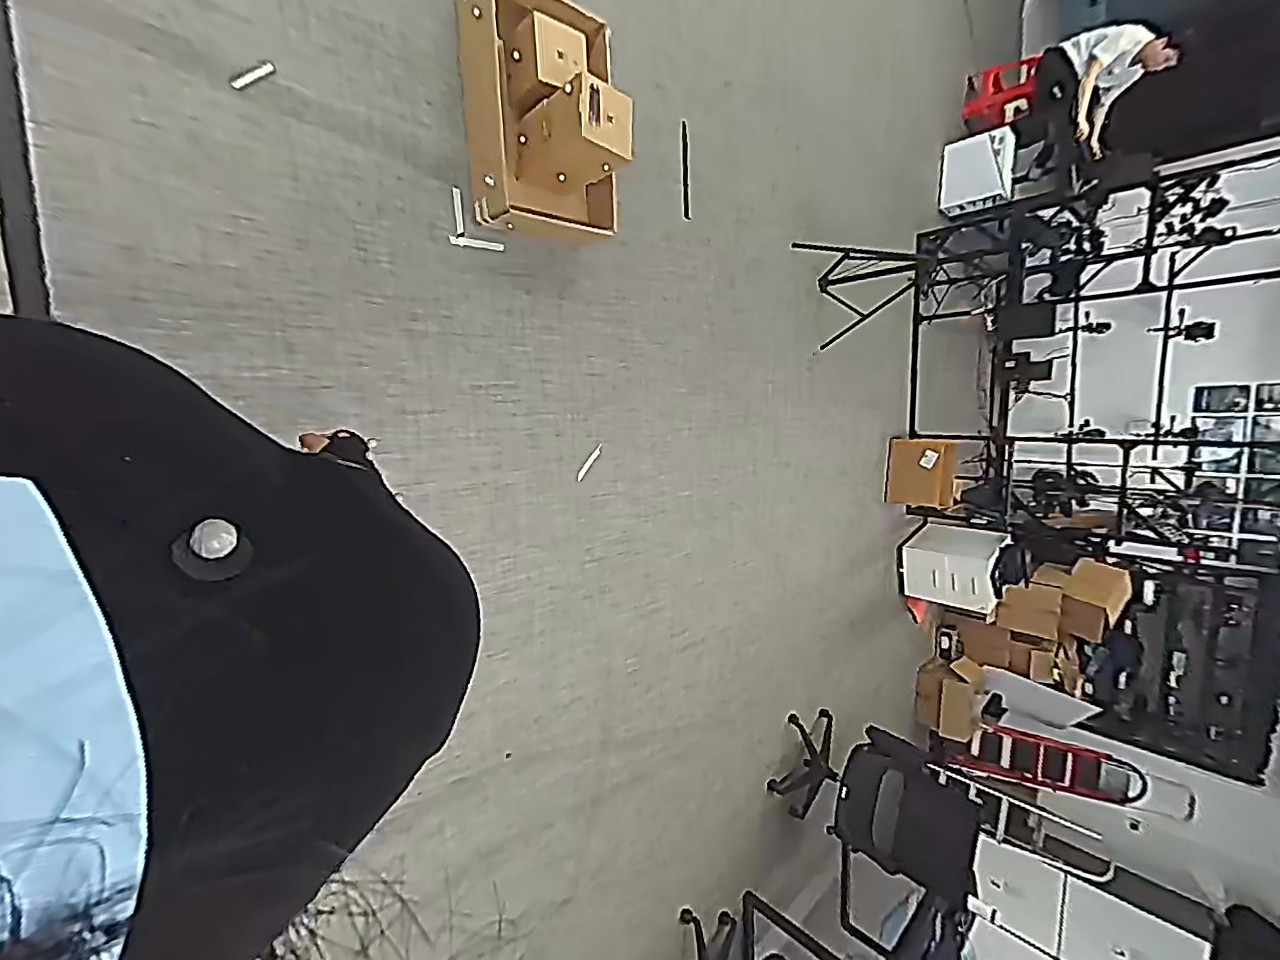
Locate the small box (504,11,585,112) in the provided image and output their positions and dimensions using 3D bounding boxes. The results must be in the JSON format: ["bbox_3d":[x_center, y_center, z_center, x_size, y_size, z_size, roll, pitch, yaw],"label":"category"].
[{"bbox_3d":[-0.280,-1.186,1.560,0.179,0.176,0.168,-12,105,-42],"label":"small box"}]

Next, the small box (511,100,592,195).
[{"bbox_3d":[-0.263,-0.976,1.609,0.179,0.176,0.168,-3,95,-43],"label":"small box"}]
